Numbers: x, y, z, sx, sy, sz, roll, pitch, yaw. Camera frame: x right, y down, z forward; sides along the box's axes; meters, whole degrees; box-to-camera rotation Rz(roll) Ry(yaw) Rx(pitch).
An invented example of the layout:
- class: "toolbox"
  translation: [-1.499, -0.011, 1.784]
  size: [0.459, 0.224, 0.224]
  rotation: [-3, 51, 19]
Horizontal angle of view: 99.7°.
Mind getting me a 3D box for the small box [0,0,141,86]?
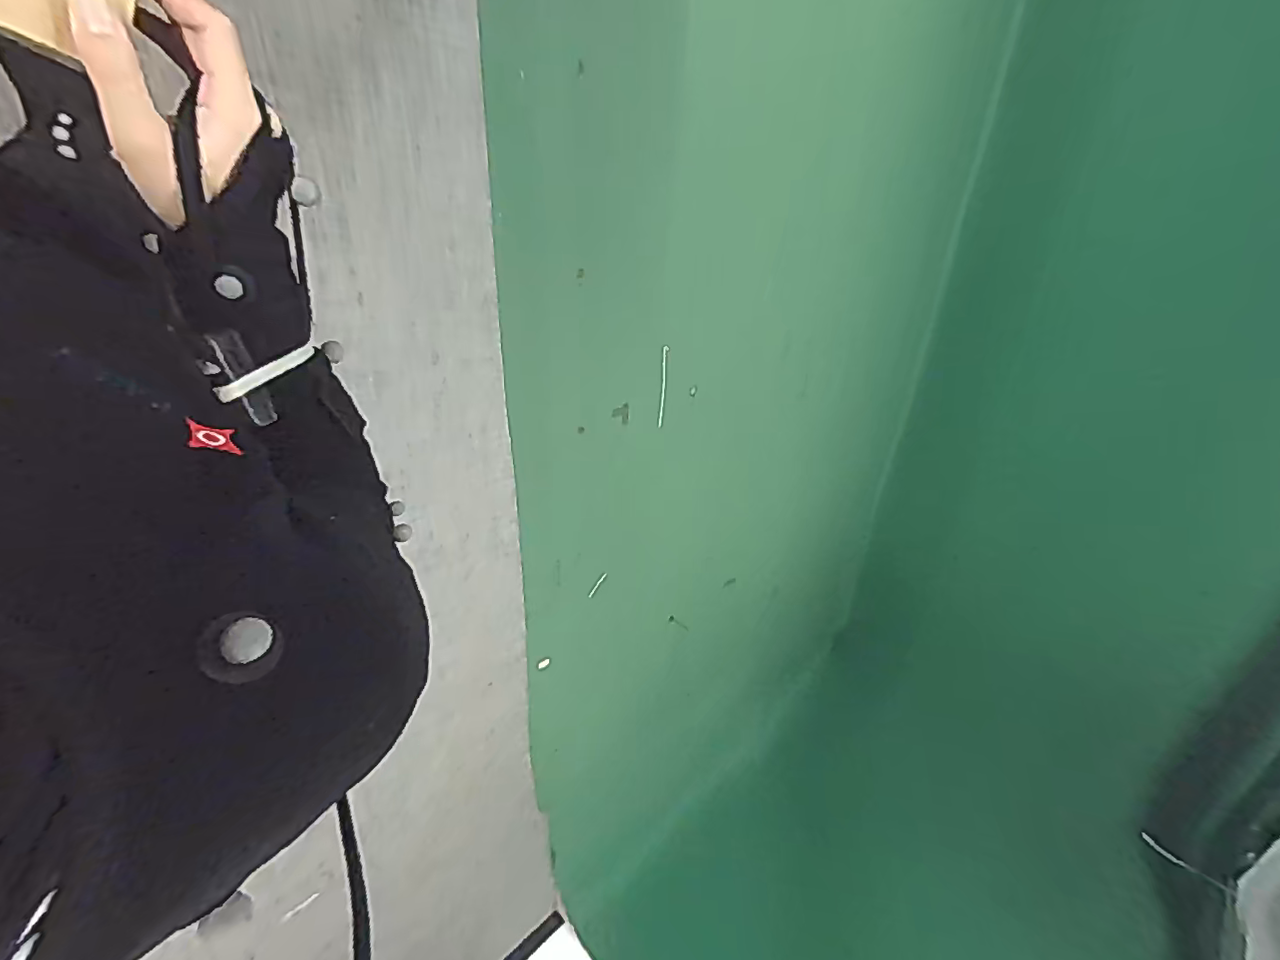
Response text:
- class: "small box"
  translation: [-0.305, -0.295, 0.205]
  size: [0.168, 0.176, 0.179]
  rotation: [5, 113, -53]
